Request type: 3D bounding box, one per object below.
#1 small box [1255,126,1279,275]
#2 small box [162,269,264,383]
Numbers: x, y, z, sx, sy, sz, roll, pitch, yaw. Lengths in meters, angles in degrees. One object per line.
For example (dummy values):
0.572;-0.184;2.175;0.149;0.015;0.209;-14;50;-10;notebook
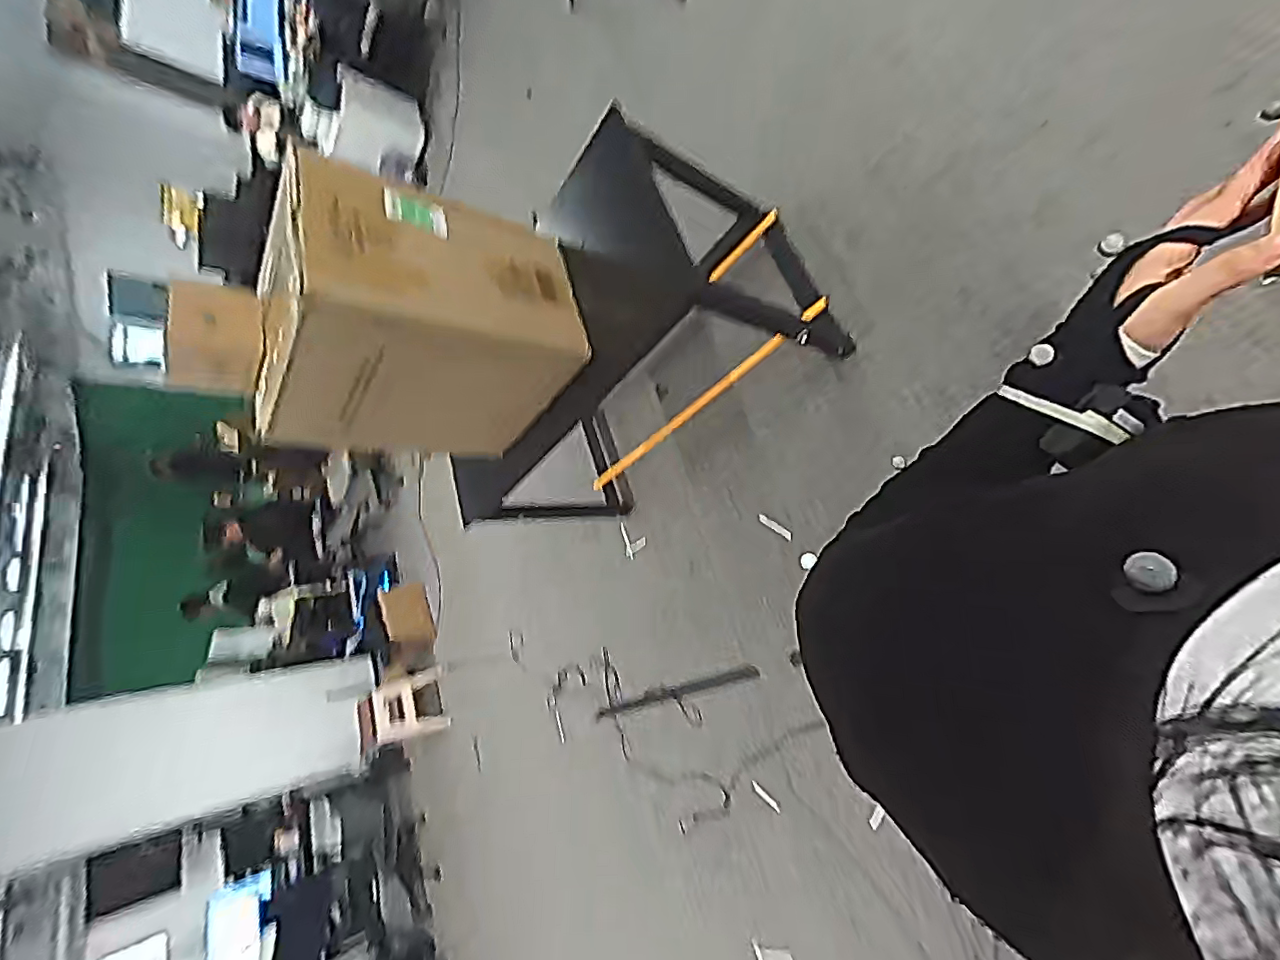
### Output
0.457;-0.208;0.279;0.168;0.176;0.179;12;110;48;small box
-0.958;-0.333;1.215;0.168;0.176;0.179;-38;61;39;small box
